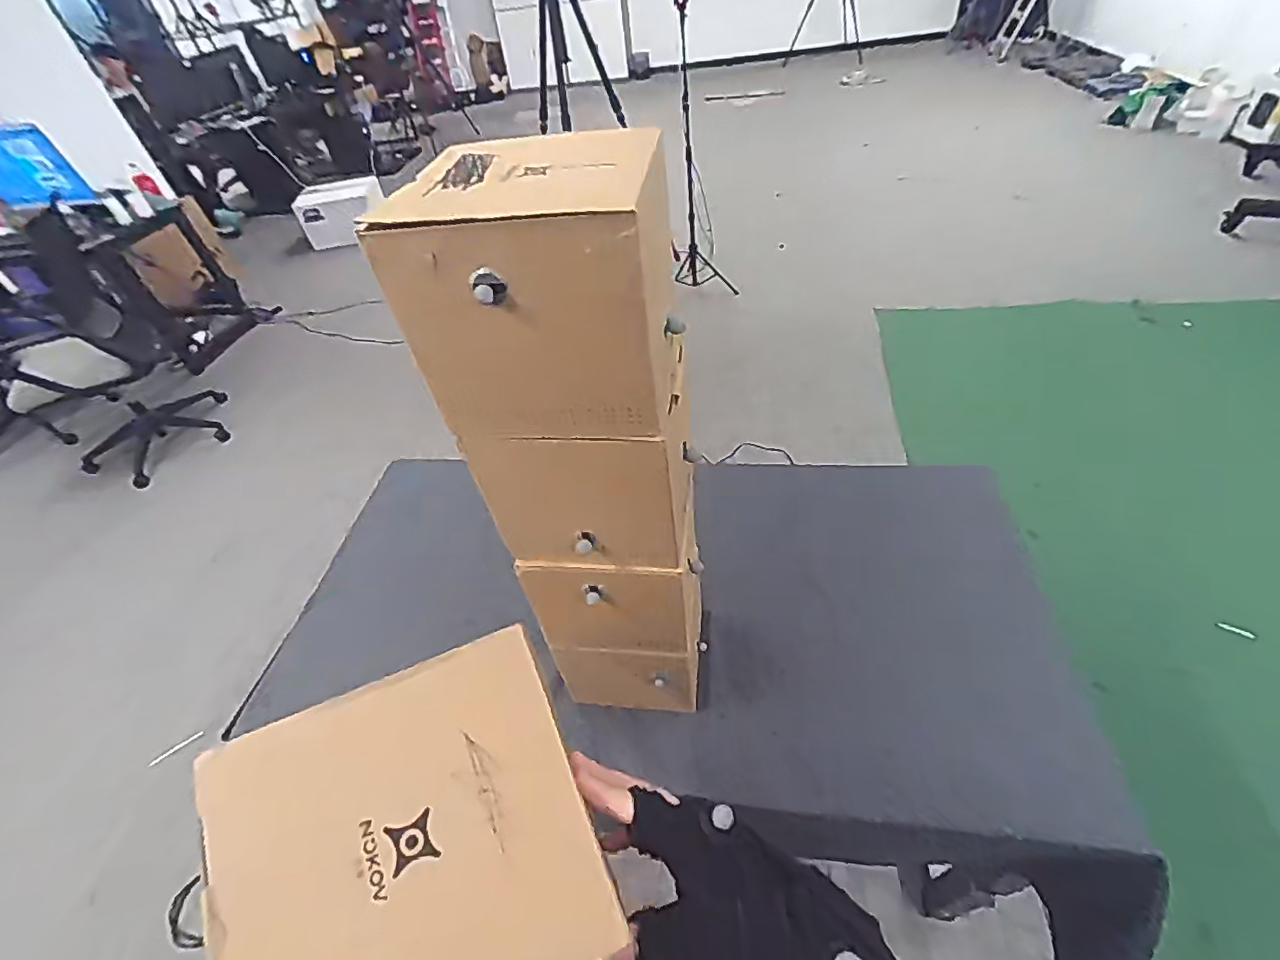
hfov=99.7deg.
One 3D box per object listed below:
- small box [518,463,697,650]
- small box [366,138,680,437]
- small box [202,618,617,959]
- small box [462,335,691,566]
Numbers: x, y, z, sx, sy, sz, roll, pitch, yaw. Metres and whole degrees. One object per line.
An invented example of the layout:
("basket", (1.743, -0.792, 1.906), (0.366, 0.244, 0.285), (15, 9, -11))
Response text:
("small box", (-0.022, 0.091, 0.652), (0.179, 0.176, 0.168), (0, 45, 10))
("small box", (-0.066, -0.147, 0.430), (0.179, 0.176, 0.168), (1, 46, 10))
("small box", (-0.124, 0.212, 0.342), (0.179, 0.176, 0.168), (-19, 67, -15))
("small box", (-0.042, -0.029, 0.542), (0.179, 0.176, 0.168), (2, 45, 11))
